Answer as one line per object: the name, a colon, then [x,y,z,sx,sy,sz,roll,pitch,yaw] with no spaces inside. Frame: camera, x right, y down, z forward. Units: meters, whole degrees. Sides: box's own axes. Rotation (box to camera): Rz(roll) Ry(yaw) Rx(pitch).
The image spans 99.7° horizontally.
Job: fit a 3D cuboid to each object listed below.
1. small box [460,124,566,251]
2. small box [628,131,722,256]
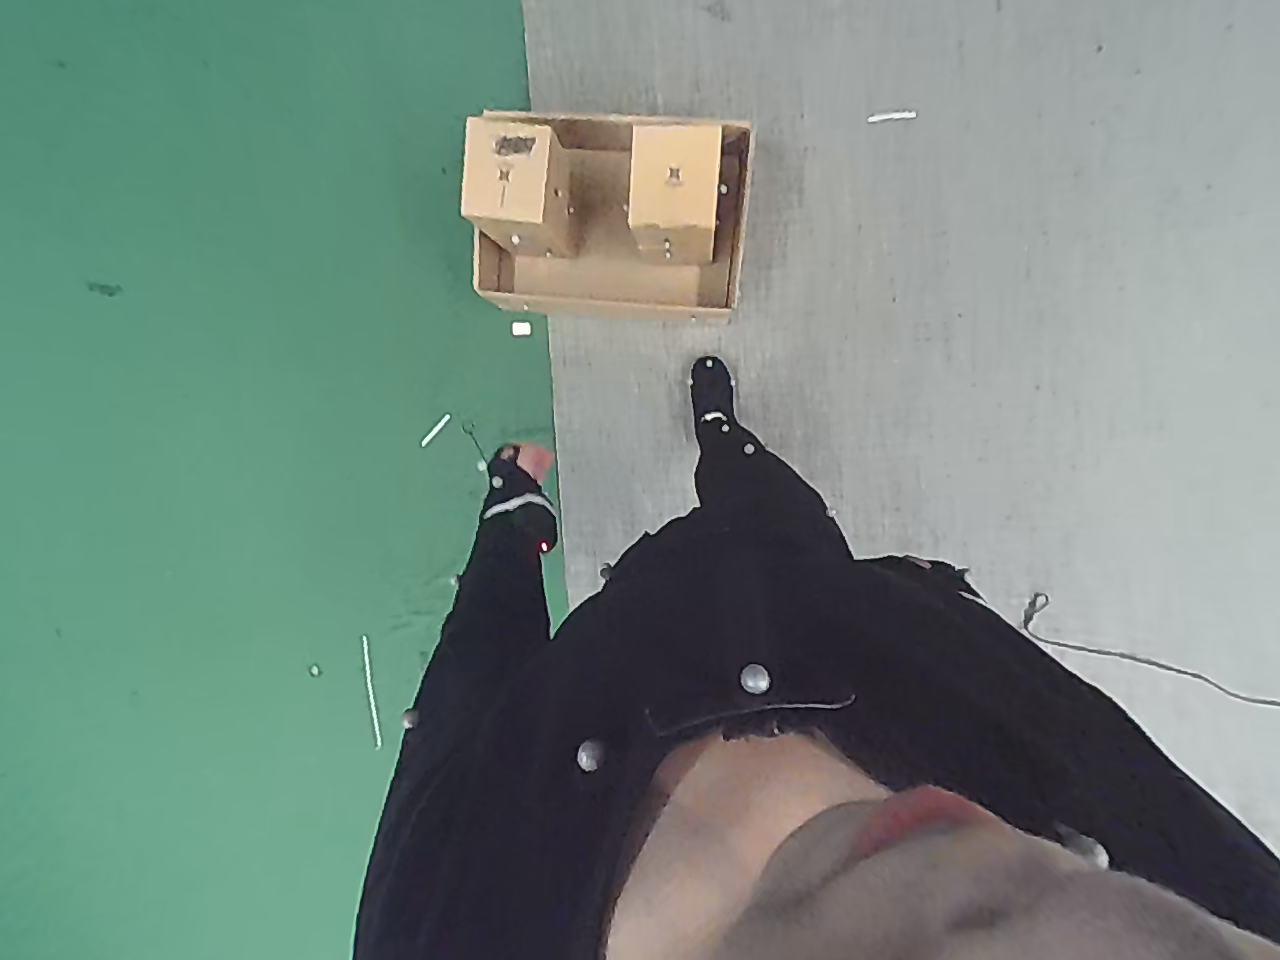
small box: [-0.253,-0.592,1.115,0.168,0.176,0.179,8,101,3]
small box: [0.070,-0.568,1.088,0.168,0.176,0.179,5,100,5]
